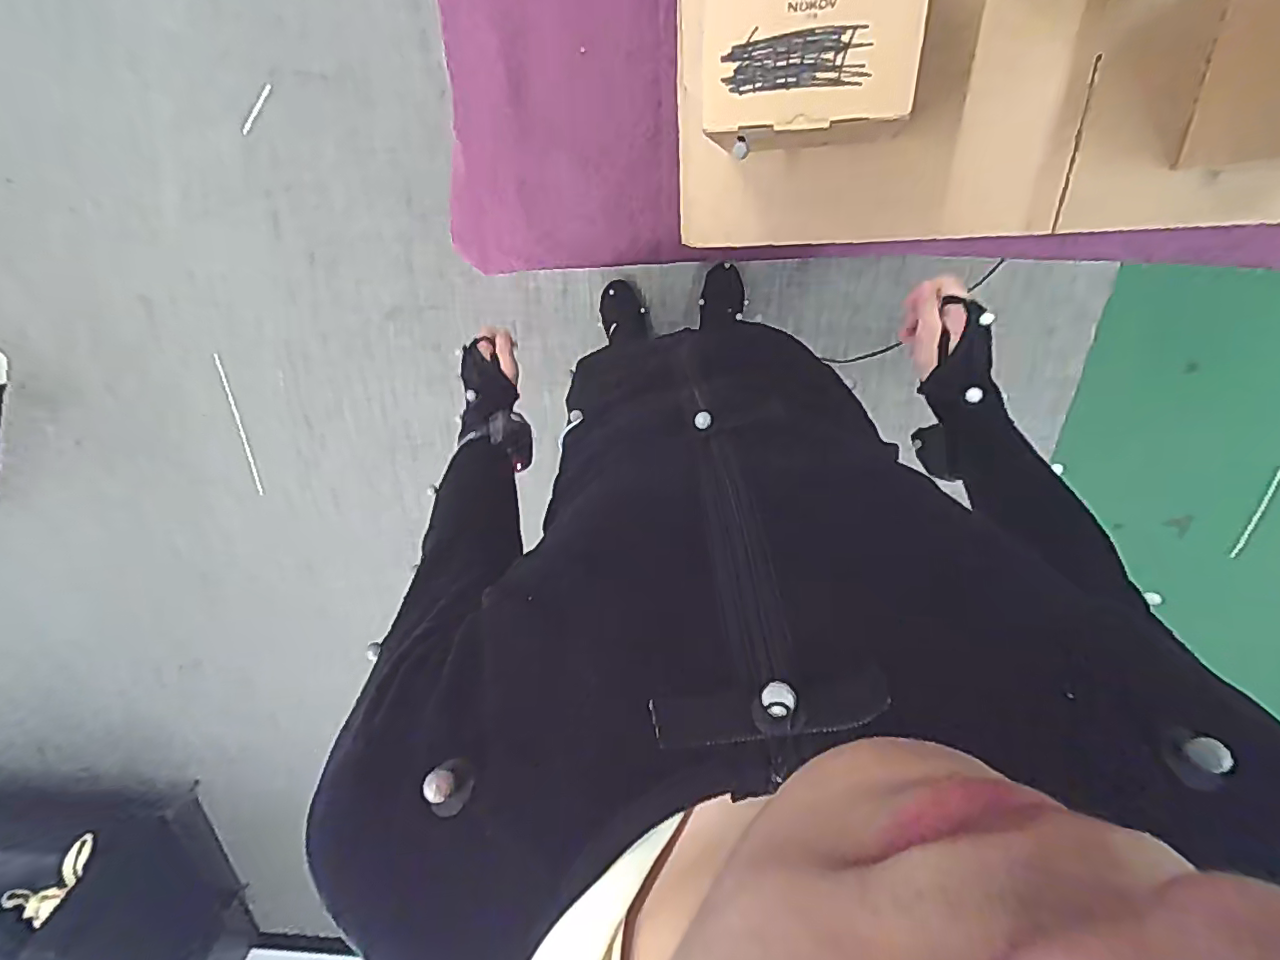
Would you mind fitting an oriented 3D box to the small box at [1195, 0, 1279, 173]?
[{"bbox_3d":[0.622,-0.357,0.433,0.168,0.176,0.179,-2,115,2],"label":"small box"}]
